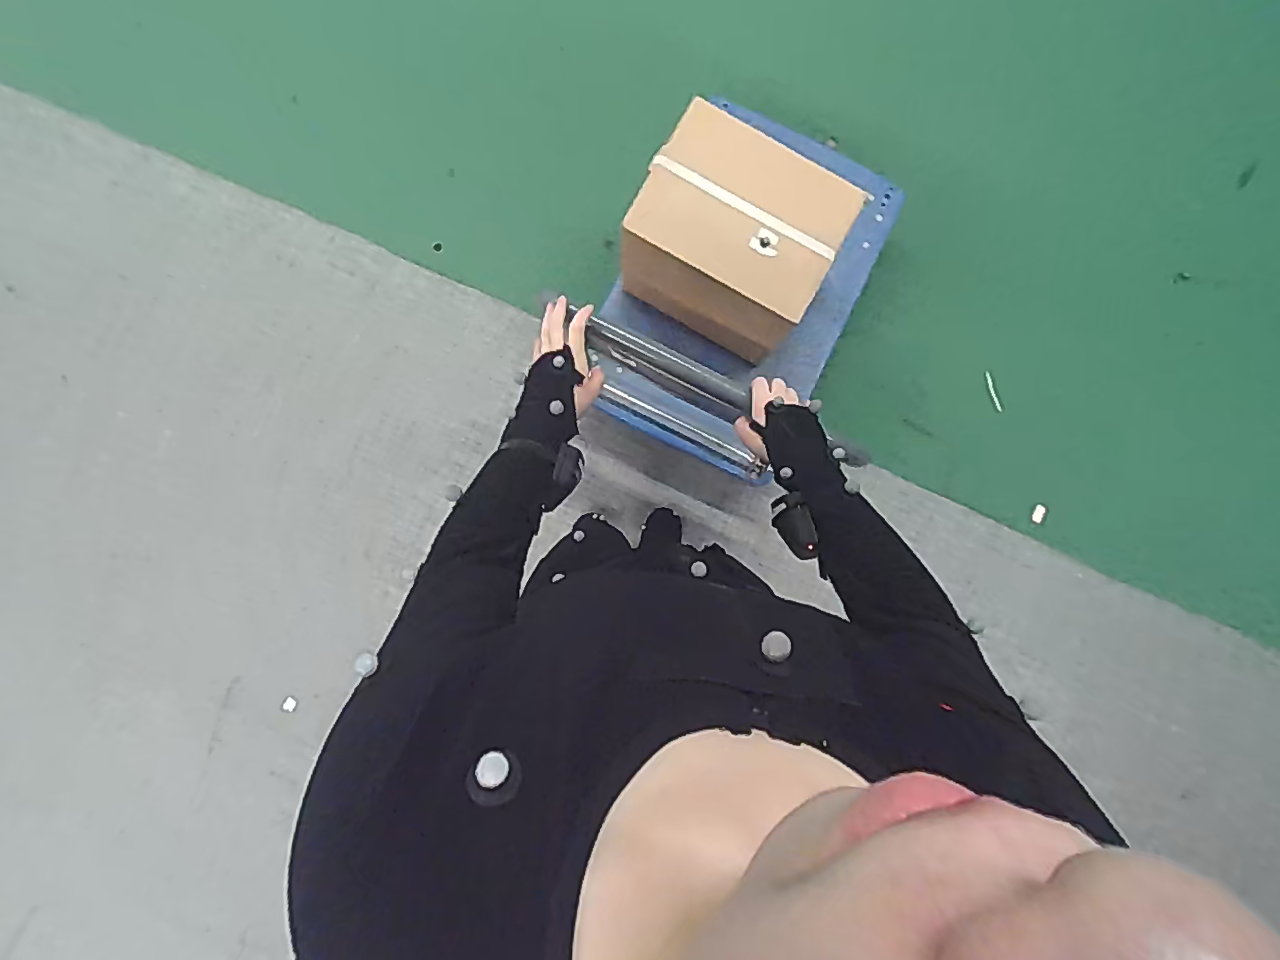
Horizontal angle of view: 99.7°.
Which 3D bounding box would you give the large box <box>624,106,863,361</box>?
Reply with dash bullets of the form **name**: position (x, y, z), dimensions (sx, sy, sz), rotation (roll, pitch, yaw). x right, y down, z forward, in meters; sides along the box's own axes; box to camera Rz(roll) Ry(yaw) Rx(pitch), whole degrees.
- **large box**: position (0.207, -0.535, 1.244), dimensions (0.408, 0.320, 0.320), rotation (29, 86, -1)
